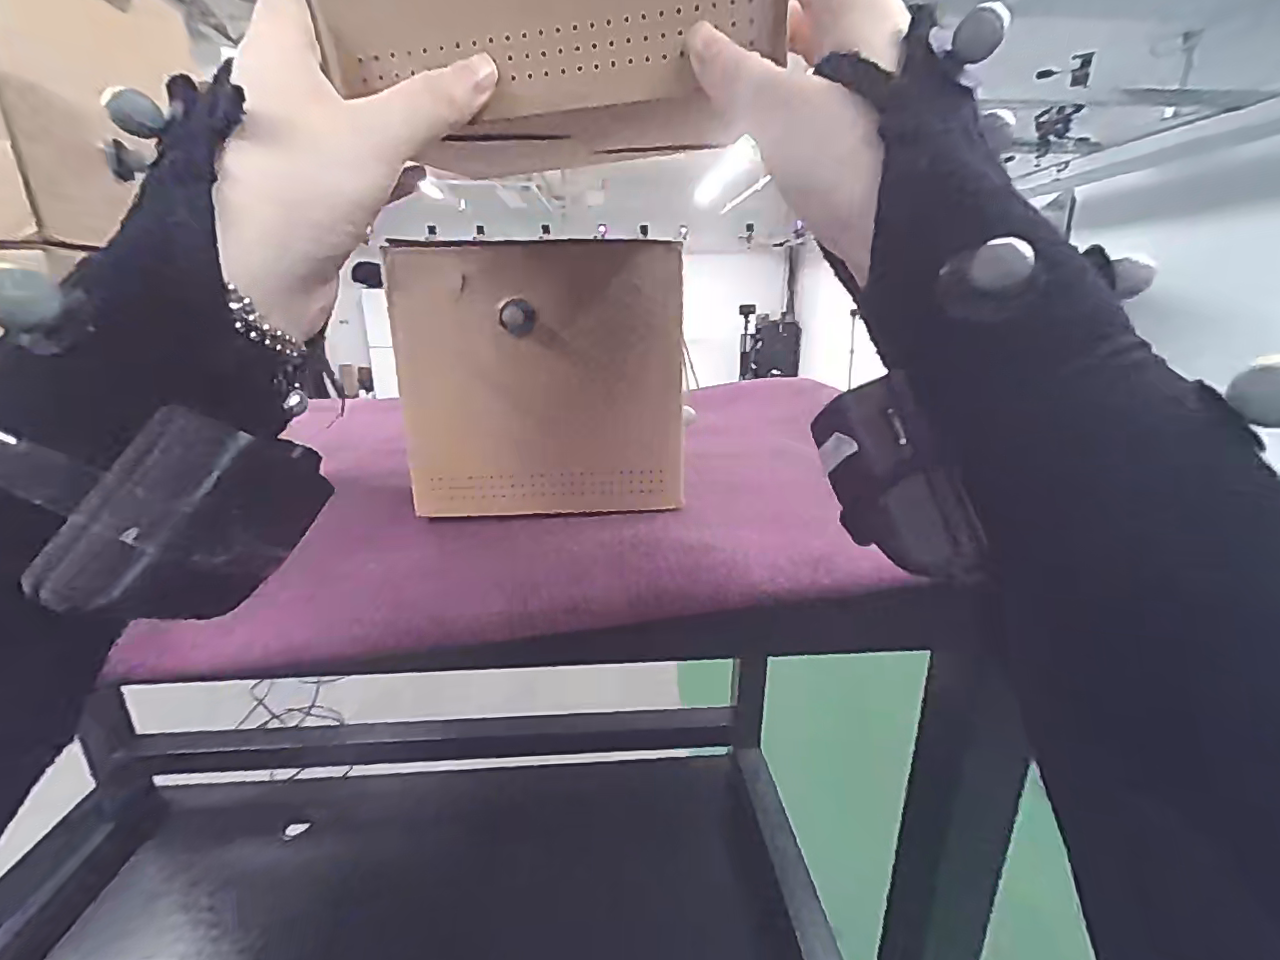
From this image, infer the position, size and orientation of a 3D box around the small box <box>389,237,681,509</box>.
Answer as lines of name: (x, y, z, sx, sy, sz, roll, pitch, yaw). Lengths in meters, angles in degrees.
small box: (-0.063, -0.078, 0.415, 0.179, 0.176, 0.168, -1, 15, -2)

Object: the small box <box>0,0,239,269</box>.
small box: (-0.389, -0.215, 0.321, 0.179, 0.176, 0.168, -2, 17, -7)

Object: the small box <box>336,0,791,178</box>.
small box: (-0.033, -0.247, 0.252, 0.179, 0.176, 0.168, -5, 25, 4)

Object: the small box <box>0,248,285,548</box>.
small box: (-0.382, -0.059, 0.369, 0.179, 0.176, 0.168, -3, 17, -5)
